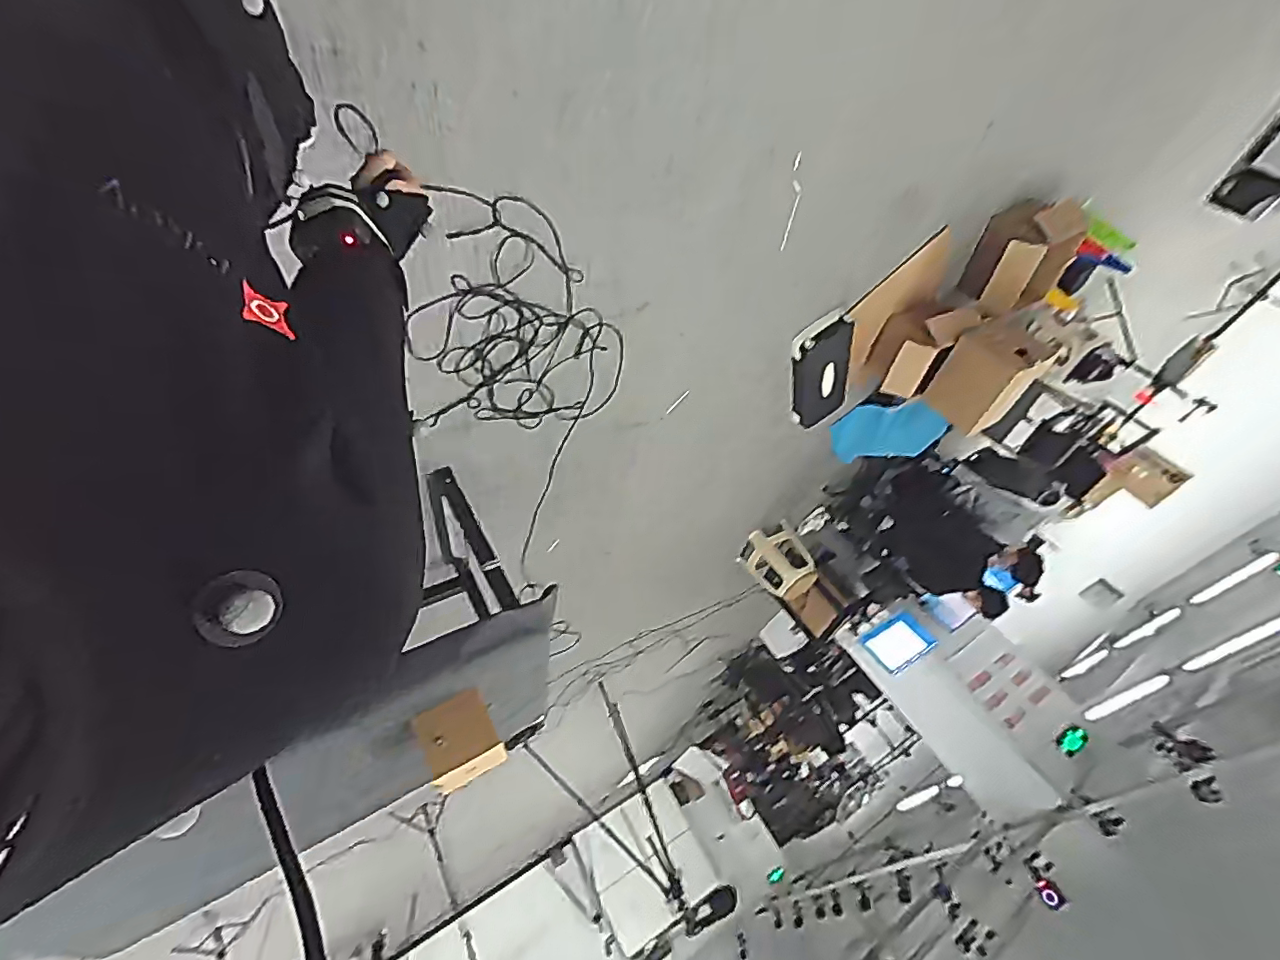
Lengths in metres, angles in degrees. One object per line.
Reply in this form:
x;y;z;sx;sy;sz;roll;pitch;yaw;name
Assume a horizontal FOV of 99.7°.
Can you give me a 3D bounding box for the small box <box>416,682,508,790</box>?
-0.464;0.662;1.404;0.179;0.176;0.168;-24;148;-24;small box
